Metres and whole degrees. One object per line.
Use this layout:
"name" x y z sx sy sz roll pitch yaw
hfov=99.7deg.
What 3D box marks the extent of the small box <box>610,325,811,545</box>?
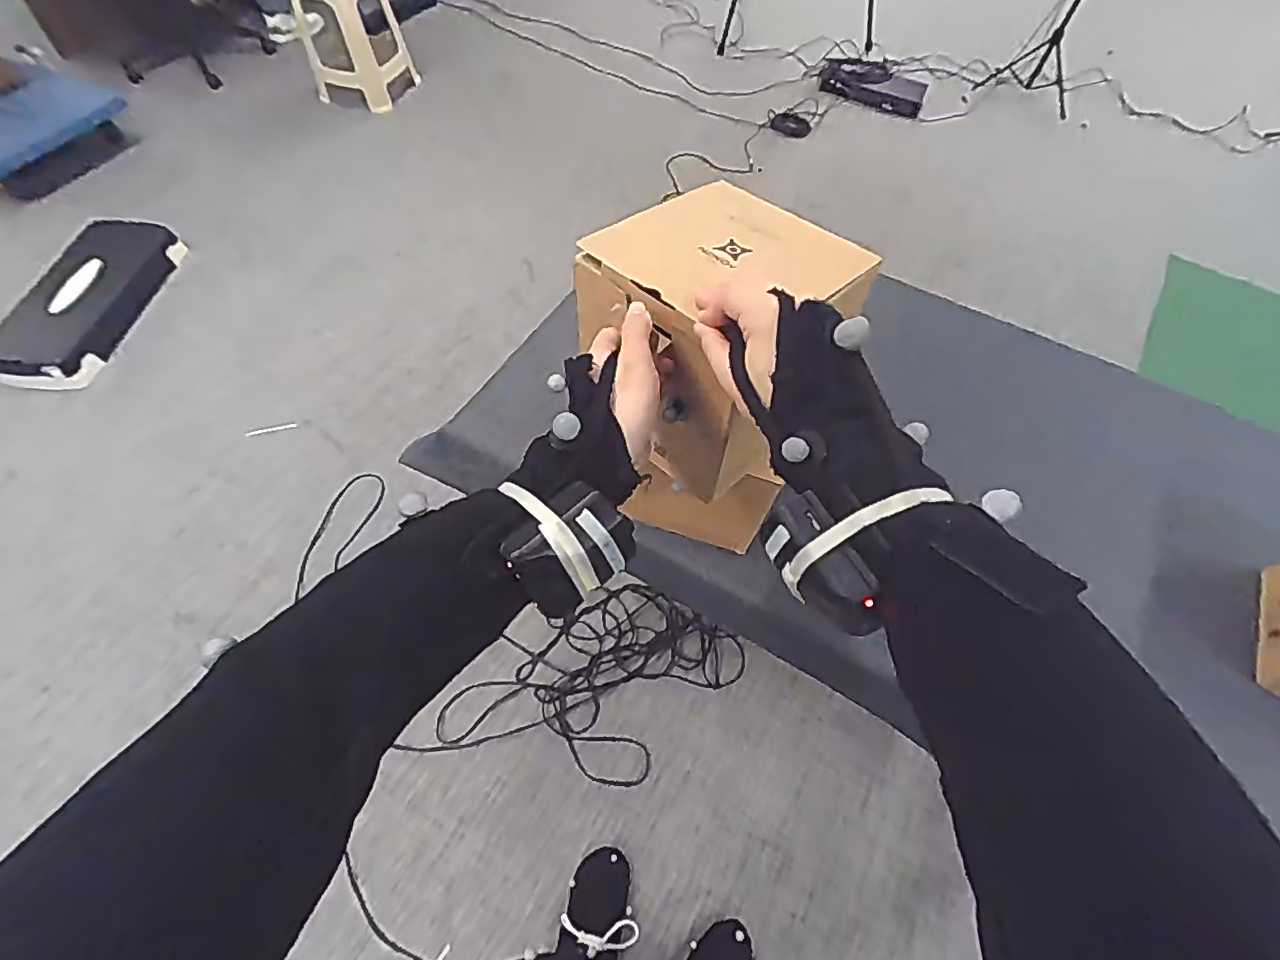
"small box" 0.074 -0.043 0.626 0.179 0.176 0.168 17 60 8
